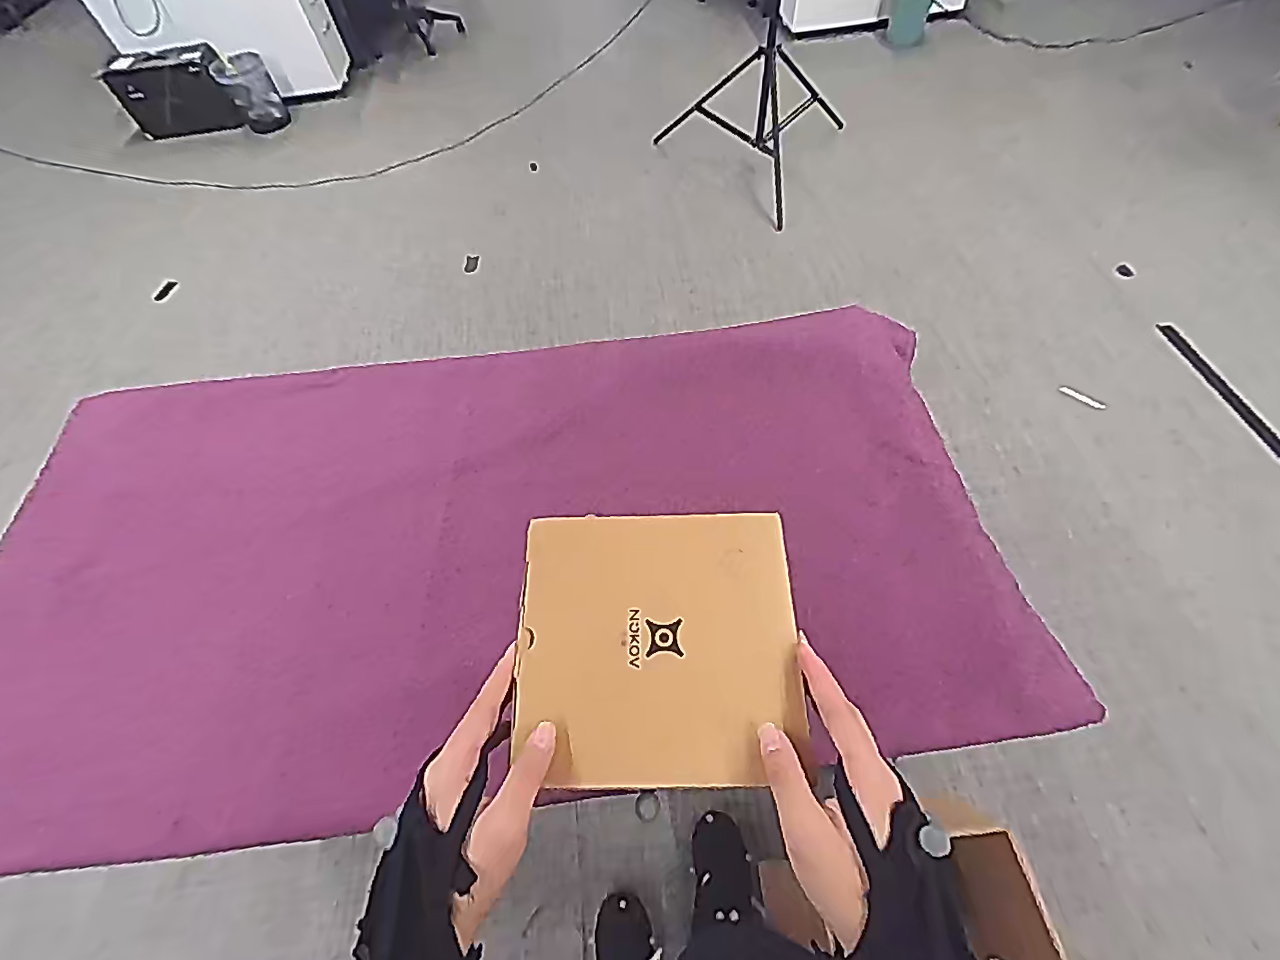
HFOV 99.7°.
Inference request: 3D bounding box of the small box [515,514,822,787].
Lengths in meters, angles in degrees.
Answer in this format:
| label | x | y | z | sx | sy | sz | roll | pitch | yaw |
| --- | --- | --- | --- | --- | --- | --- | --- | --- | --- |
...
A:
| label | x | y | z | sx | sy | sz | roll | pitch | yaw |
| --- | --- | --- | --- | --- | --- | --- | --- | --- | --- |
| small box | 0.018 | 0.133 | 0.408 | 0.179 | 0.176 | 0.168 | -2 | 63 | 2 |
